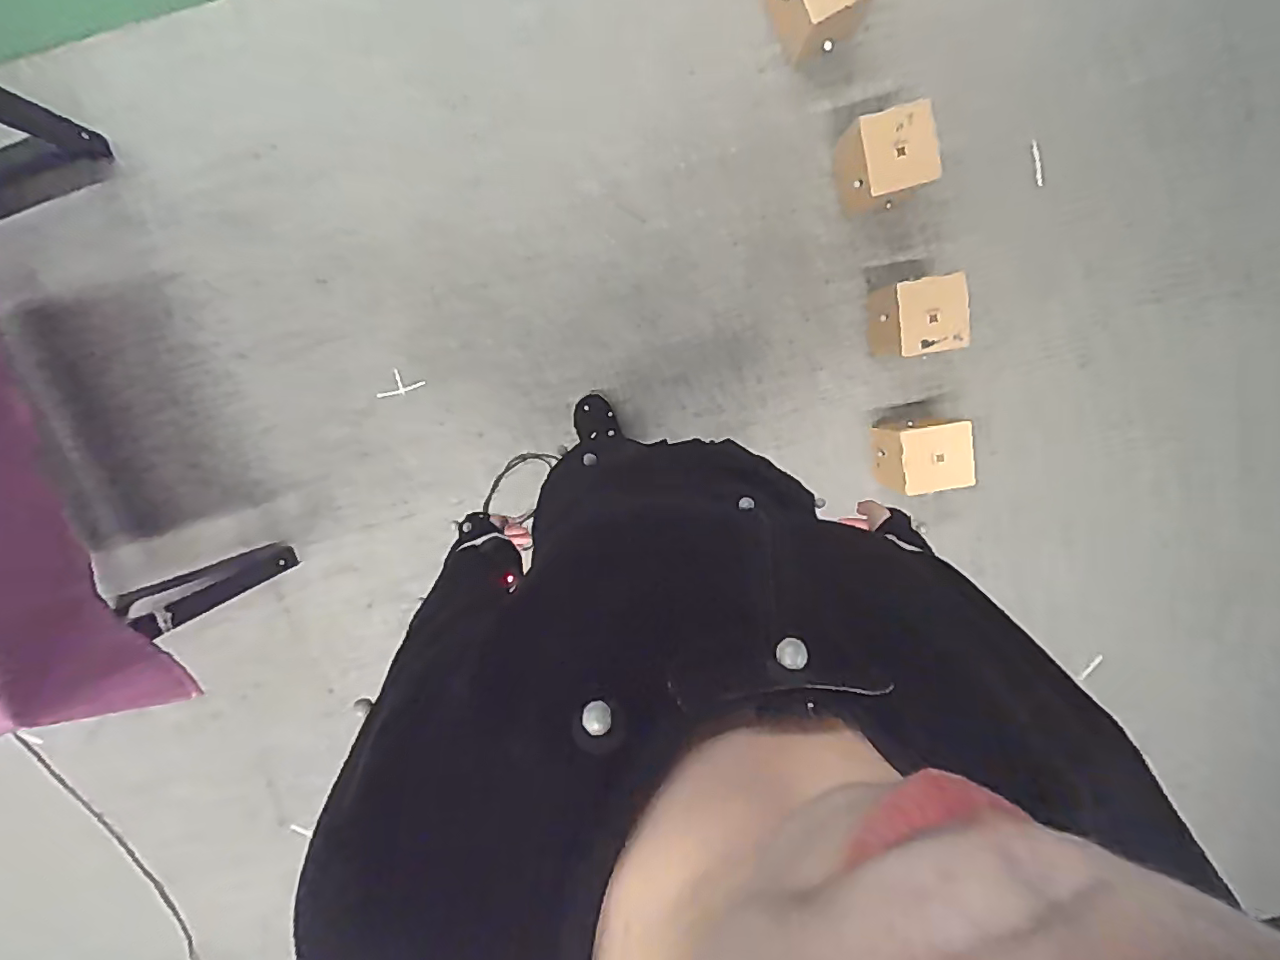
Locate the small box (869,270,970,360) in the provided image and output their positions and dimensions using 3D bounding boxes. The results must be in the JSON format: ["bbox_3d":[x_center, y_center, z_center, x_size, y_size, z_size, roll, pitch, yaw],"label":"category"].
[{"bbox_3d":[0.690,-0.404,1.350,0.168,0.176,0.179,-9,98,2],"label":"small box"}]

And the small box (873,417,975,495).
[{"bbox_3d":[0.733,-0.069,1.405,0.179,0.176,0.168,-10,99,2],"label":"small box"}]

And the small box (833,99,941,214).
[{"bbox_3d":[0.584,-0.758,1.293,0.168,0.176,0.179,-14,99,1],"label":"small box"}]
